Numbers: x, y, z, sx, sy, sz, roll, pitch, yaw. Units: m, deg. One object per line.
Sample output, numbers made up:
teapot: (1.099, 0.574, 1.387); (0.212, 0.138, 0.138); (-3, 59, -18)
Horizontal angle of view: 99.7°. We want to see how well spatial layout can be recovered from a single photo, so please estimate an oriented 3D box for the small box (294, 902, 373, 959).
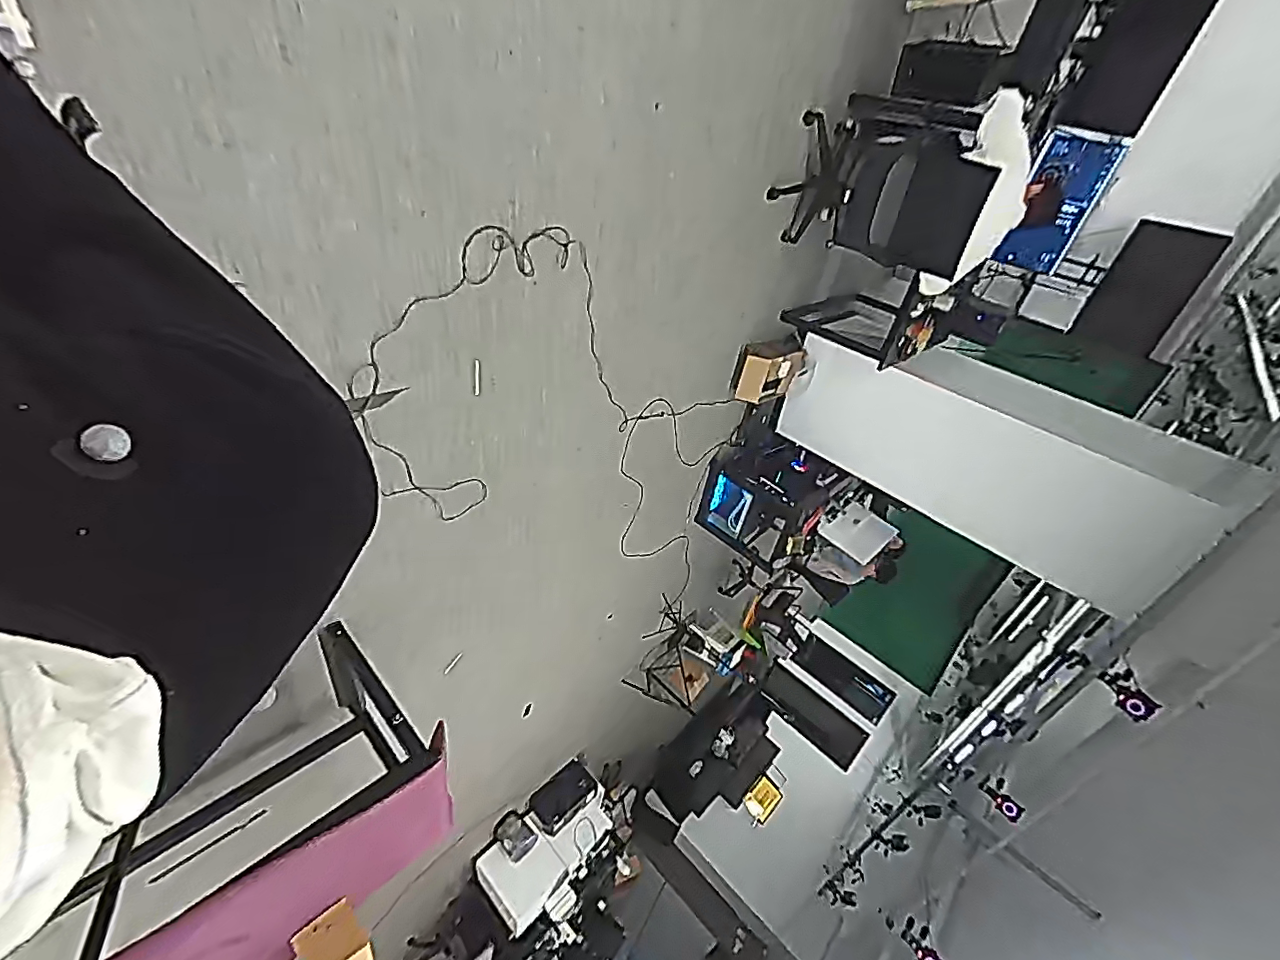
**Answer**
small box: (-0.972, 1.498, 1.717); (0.168, 0.176, 0.179); (-23, 137, -42)
